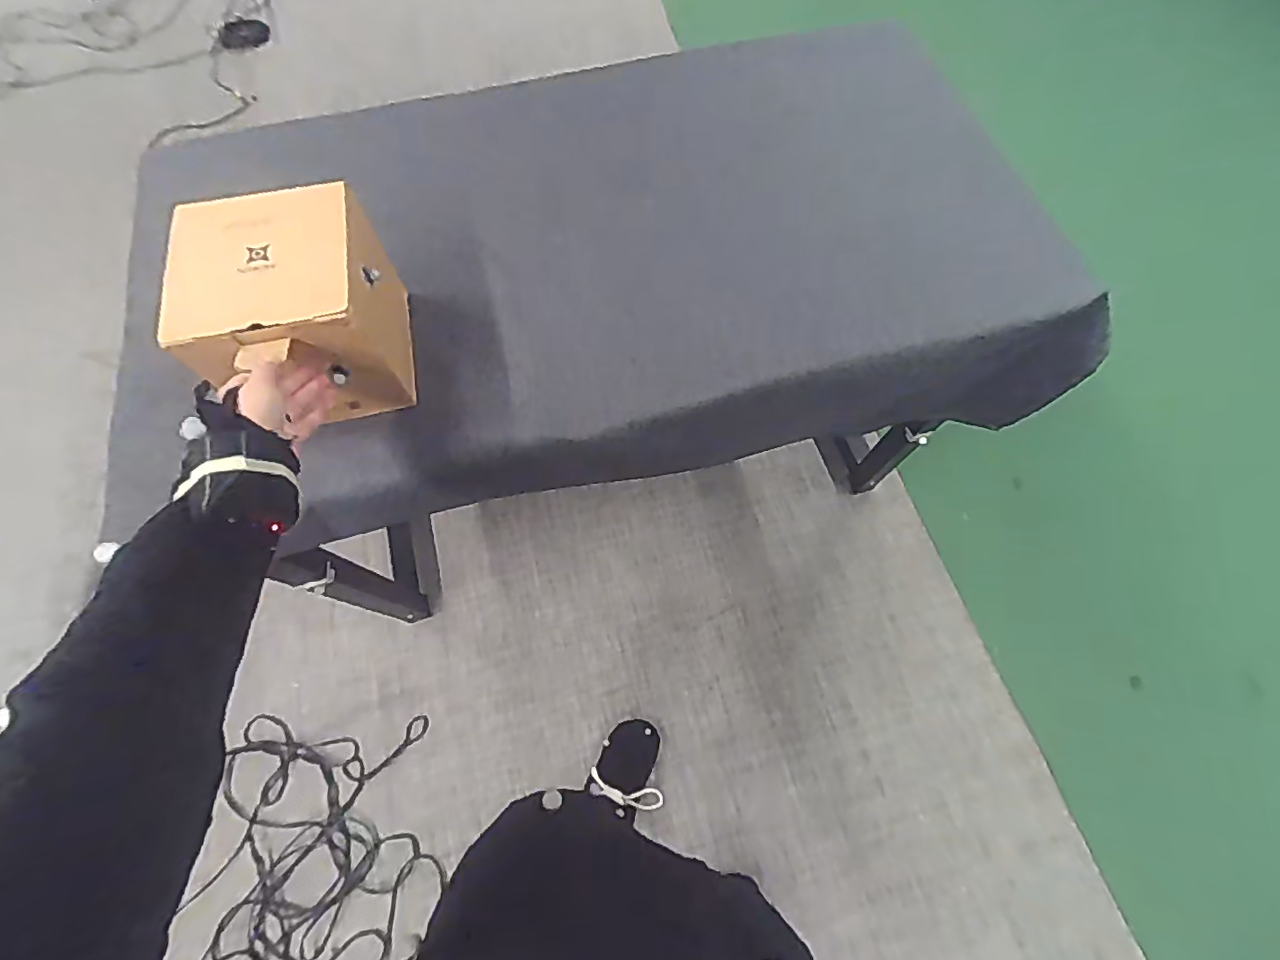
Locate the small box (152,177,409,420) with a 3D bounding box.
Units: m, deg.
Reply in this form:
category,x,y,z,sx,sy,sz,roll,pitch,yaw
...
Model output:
category,x,y,z,sx,sy,sz,roll,pitch,yaw
small box,-0.361,-0.180,0.577,0.168,0.176,0.179,-12,67,-6
